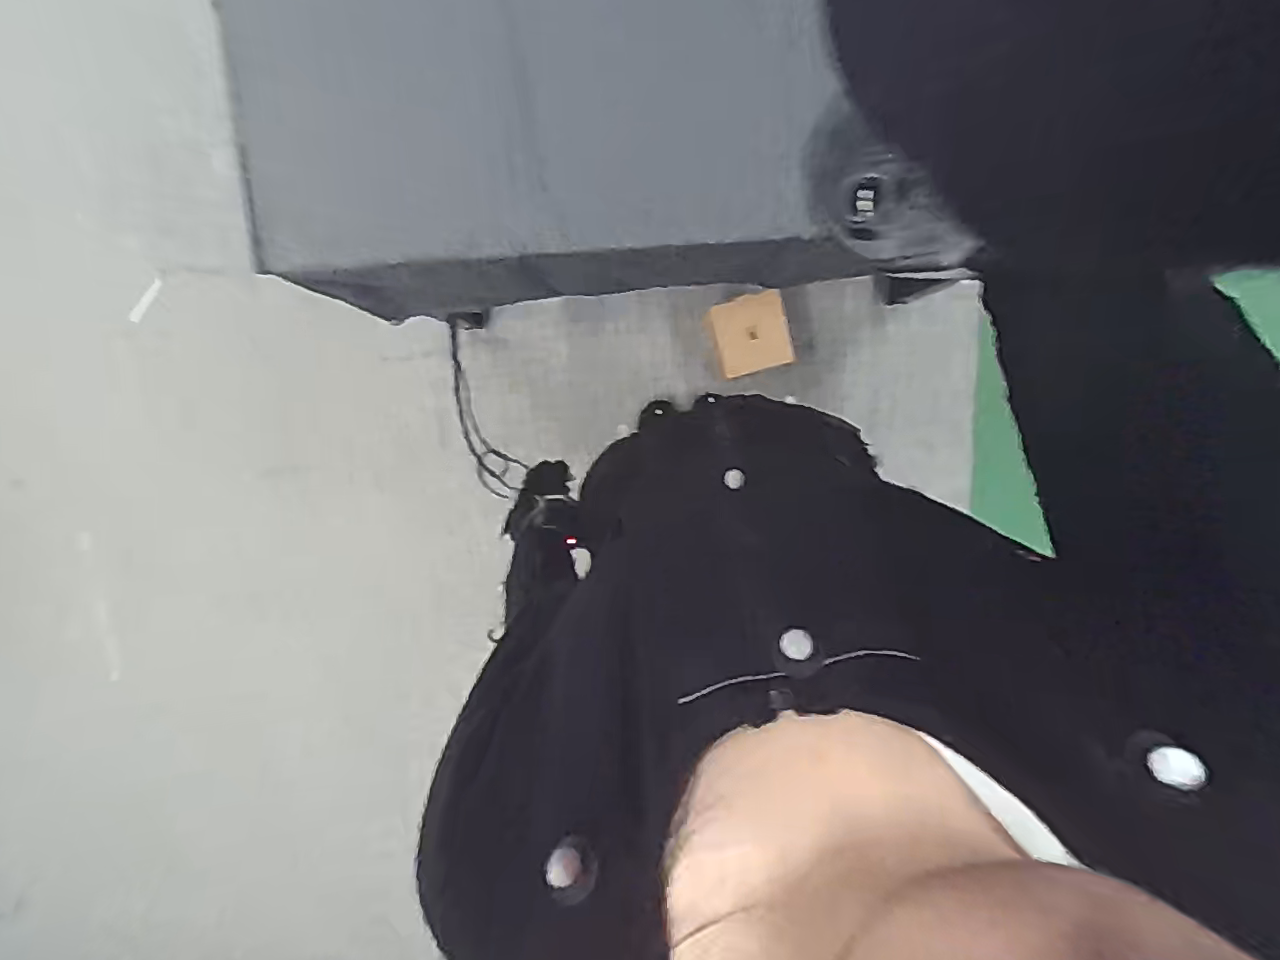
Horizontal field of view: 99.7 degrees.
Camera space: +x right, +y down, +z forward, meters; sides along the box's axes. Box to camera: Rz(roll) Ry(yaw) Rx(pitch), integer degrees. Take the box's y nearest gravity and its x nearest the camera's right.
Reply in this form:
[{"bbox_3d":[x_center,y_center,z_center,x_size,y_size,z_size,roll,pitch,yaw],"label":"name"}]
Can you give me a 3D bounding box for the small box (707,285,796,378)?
[{"bbox_3d":[0.268,-0.359,1.339,0.168,0.176,0.179,-14,97,4],"label":"small box"}]
